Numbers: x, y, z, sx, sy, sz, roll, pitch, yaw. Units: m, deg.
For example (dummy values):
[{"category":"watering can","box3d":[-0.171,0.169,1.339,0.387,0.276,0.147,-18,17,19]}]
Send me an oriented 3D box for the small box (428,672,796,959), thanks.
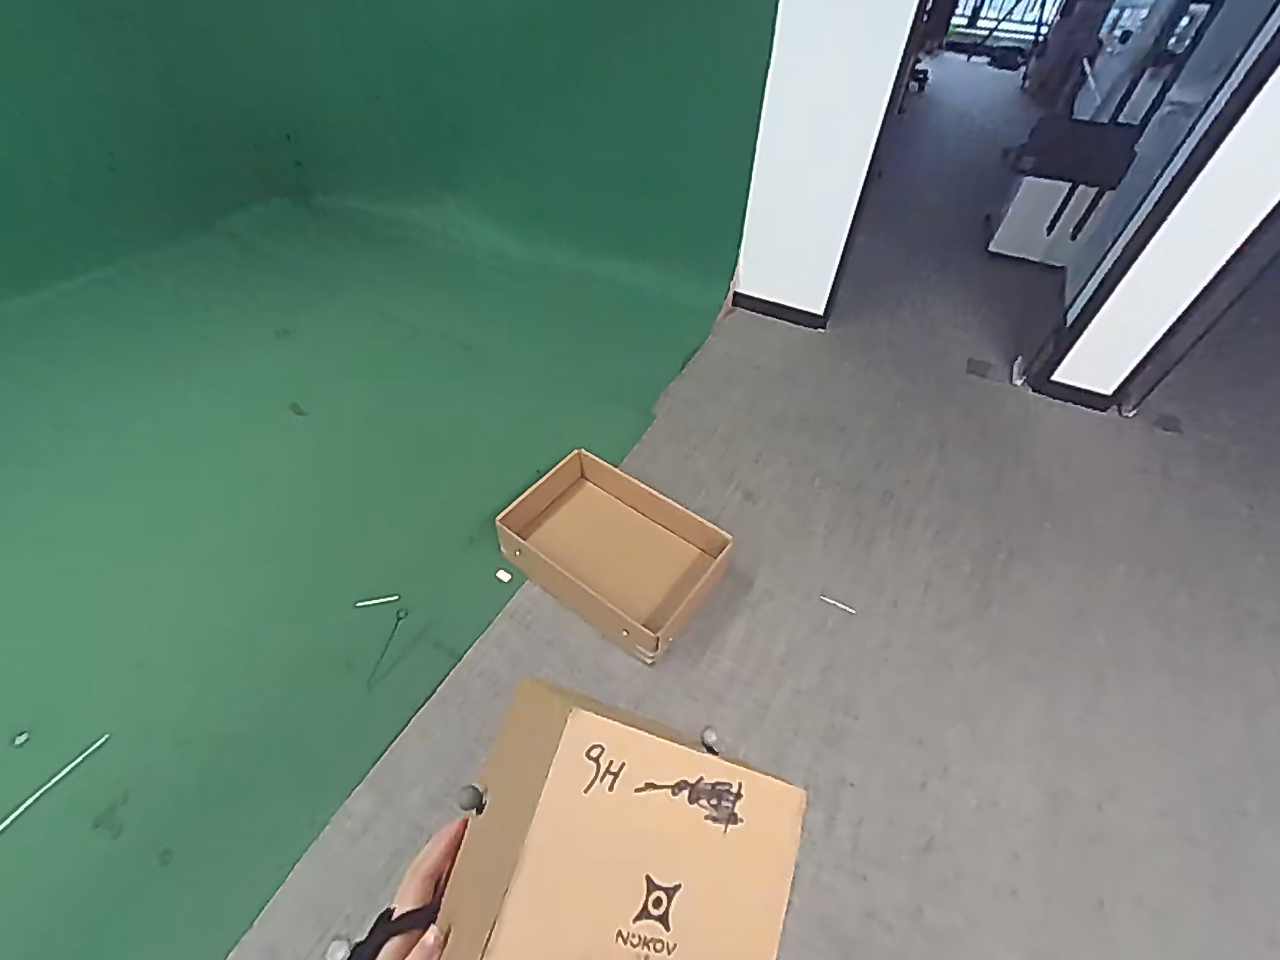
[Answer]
[{"category":"small box","box3d":[-0.029,0.250,0.367,0.168,0.176,0.179,26,70,-14]}]
